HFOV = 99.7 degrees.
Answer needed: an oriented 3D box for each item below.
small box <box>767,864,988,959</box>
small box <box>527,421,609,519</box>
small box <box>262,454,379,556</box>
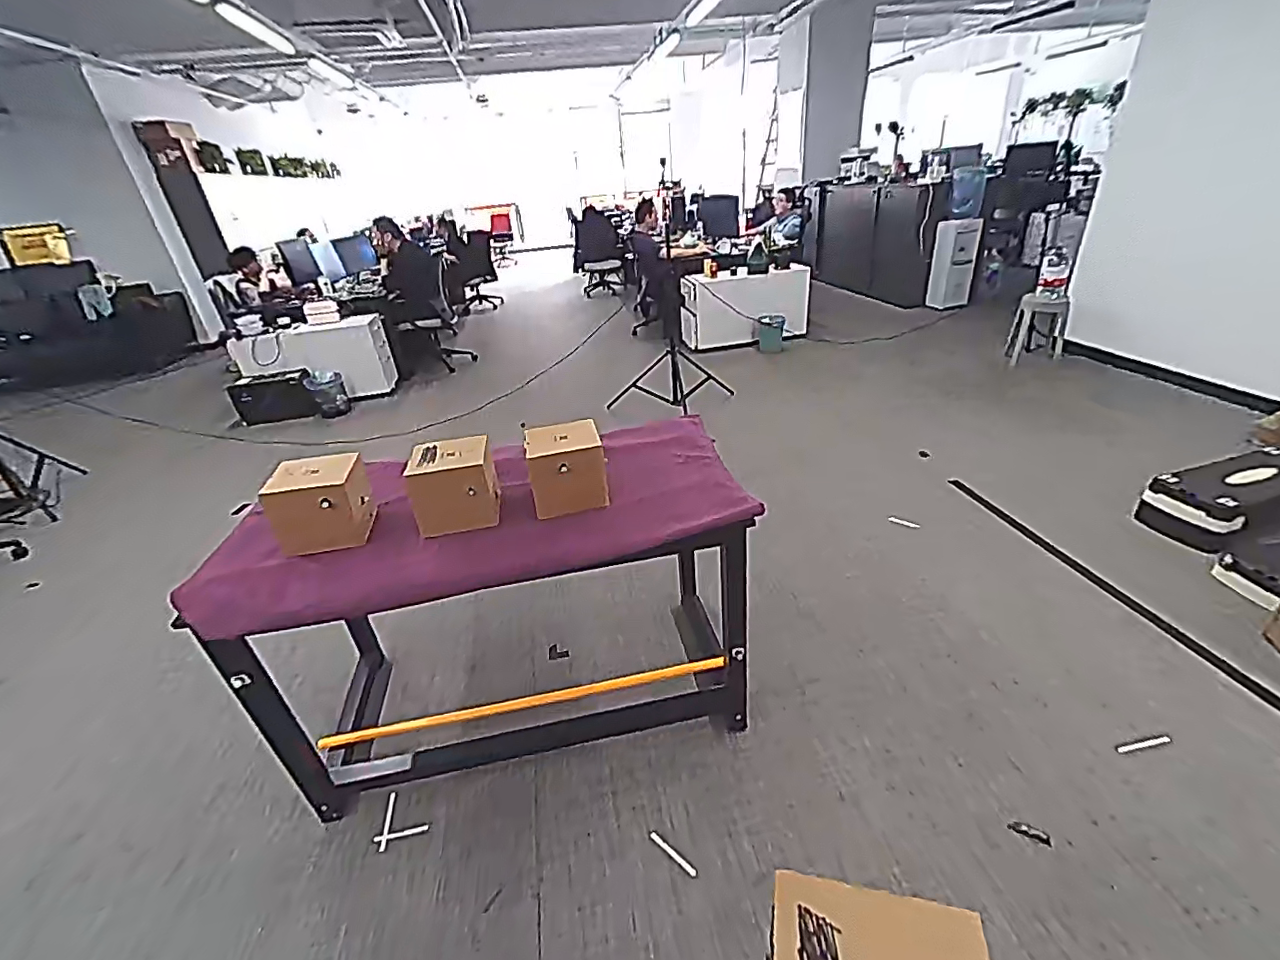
[{"bbox_3d":[0.197,0.478,0.462,0.179,0.176,0.168,2,28,15],"label":"small box"},{"bbox_3d":[-0.175,-0.026,1.332,0.179,0.176,0.168,-11,30,-8],"label":"small box"},{"bbox_3d":[-0.735,0.057,1.271,0.179,0.176,0.168,-9,29,-10],"label":"small box"}]
